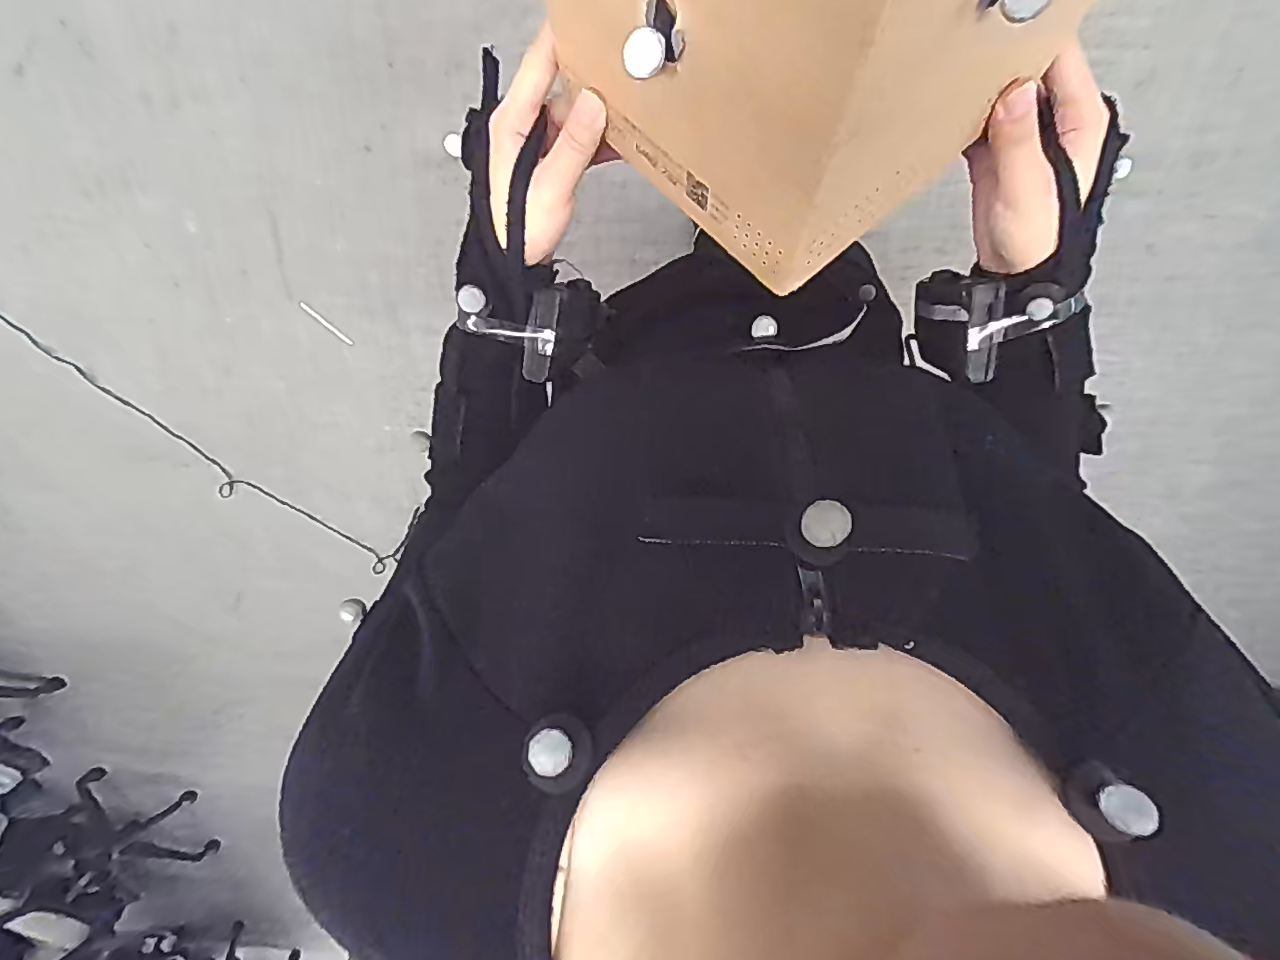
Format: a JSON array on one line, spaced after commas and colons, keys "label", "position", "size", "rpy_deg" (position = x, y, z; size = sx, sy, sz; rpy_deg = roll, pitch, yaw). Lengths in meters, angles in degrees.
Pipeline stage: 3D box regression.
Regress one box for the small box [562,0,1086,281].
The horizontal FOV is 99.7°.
[{"label": "small box", "position": [0.074, -0.216, 0.204], "size": [0.179, 0.176, 0.168], "rpy_deg": [-40, 76, -7]}]
